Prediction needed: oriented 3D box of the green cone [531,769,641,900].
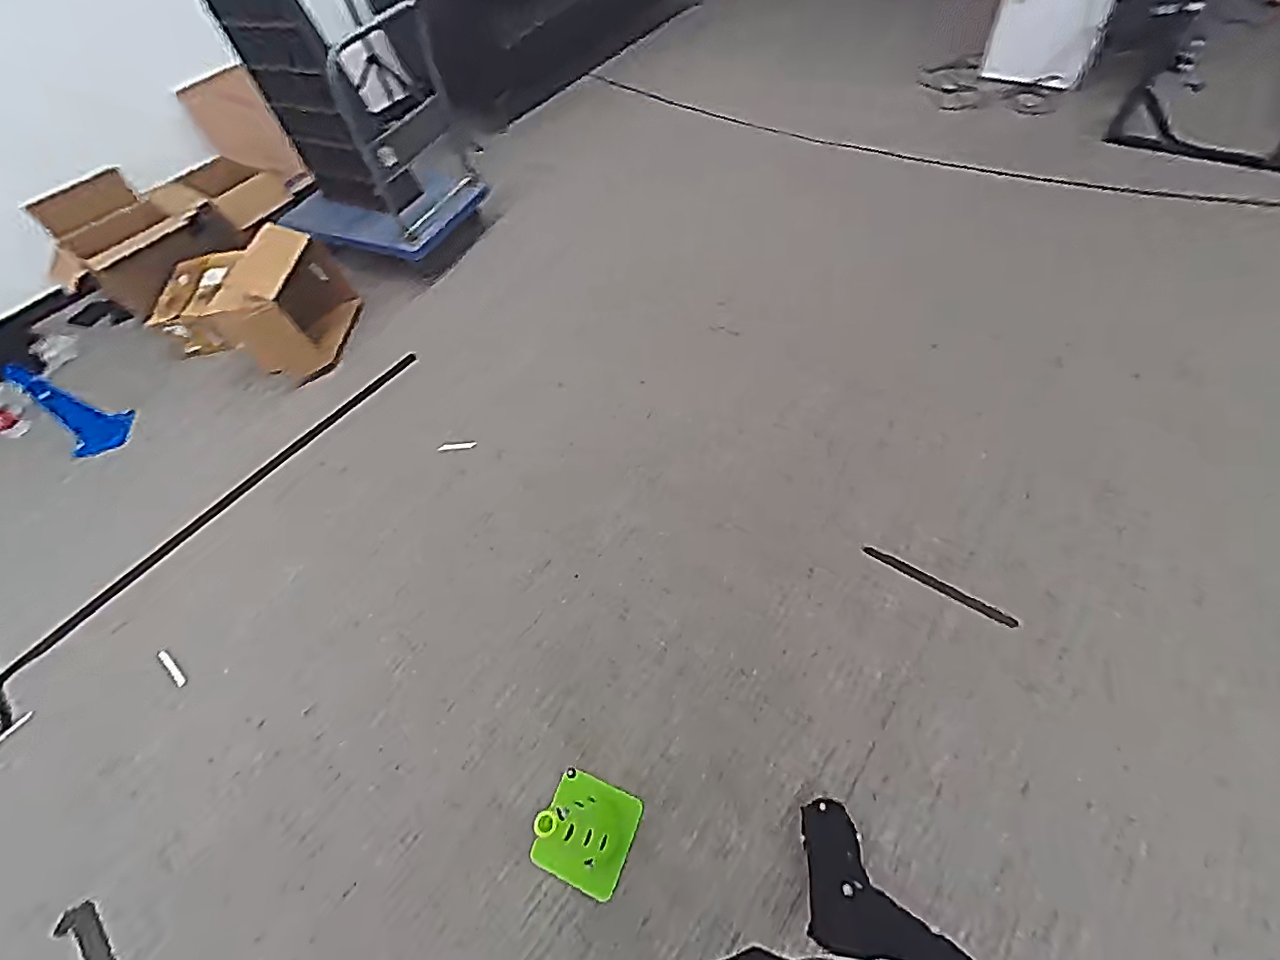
[{"bbox_3d":[-0.137,0.681,1.051,0.202,0.368,0.200,16,60,17],"label":"green cone"}]
